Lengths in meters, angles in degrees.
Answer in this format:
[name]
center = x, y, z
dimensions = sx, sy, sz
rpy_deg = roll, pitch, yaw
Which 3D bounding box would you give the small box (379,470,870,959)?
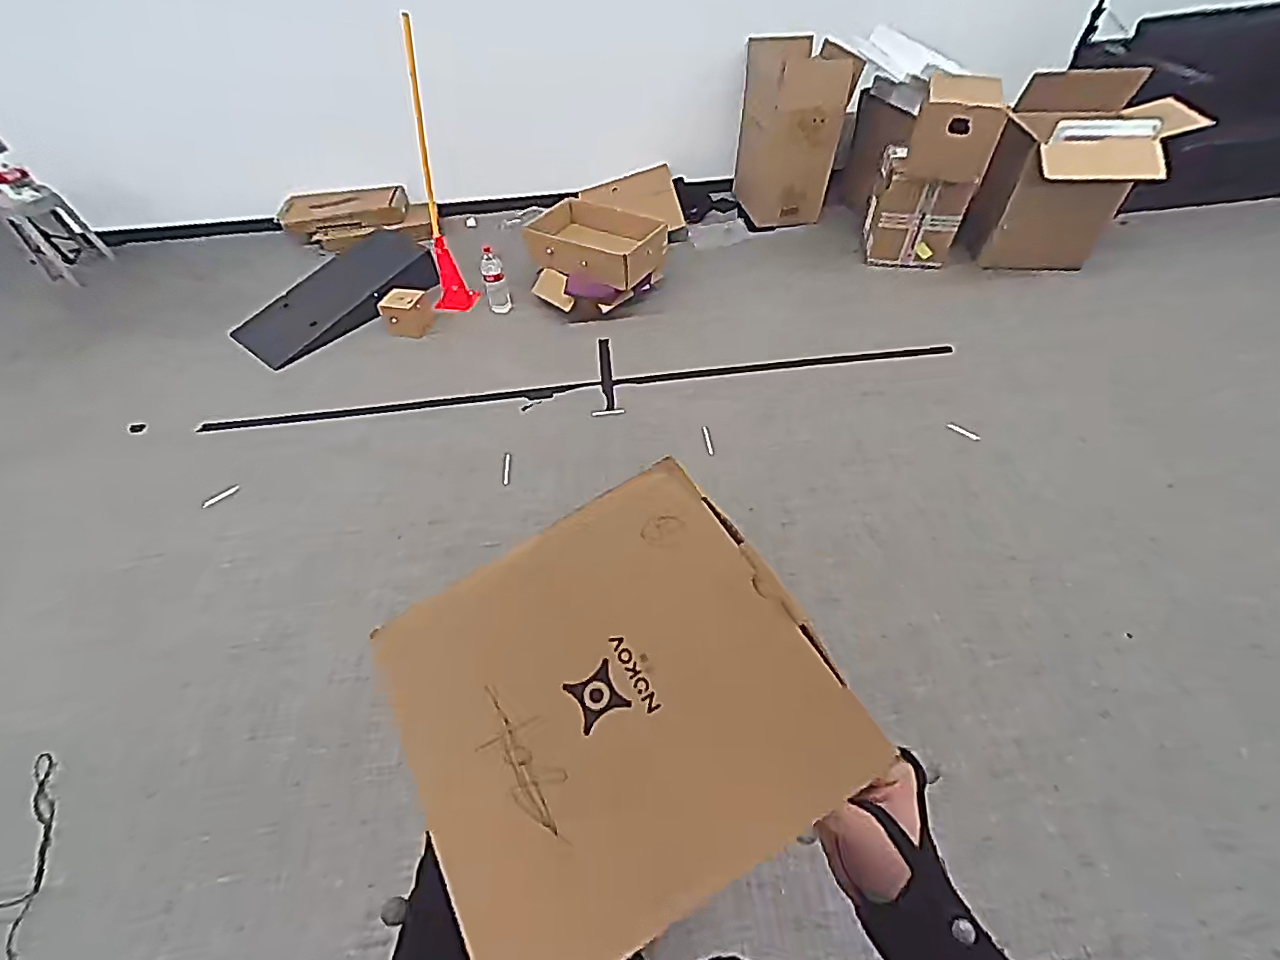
[small box]
center = -0.007, 0.130, 0.316
dimensions = 0.179, 0.176, 0.168
rpy_deg = -31, 63, -6
